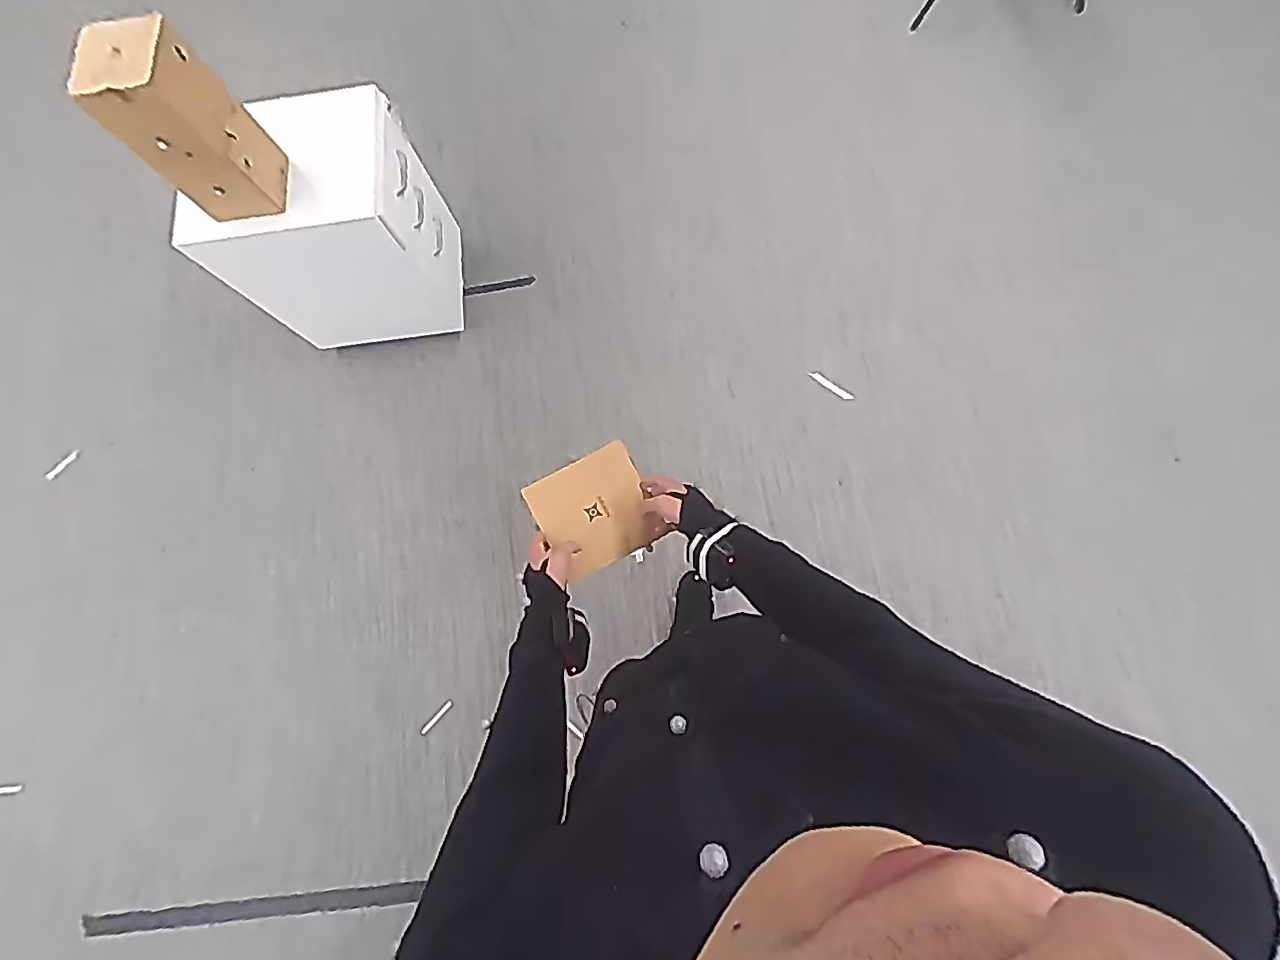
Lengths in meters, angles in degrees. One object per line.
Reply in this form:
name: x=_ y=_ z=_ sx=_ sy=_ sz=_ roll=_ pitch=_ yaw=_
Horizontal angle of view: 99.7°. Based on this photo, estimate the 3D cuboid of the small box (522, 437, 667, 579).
small box: x=-0.074 y=0.050 z=0.904 sx=0.179 sy=0.176 sz=0.168 roll=-28 pitch=87 yaw=-7

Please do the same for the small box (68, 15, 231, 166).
small box: x=-0.967 y=-0.772 z=1.084 sx=0.168 sy=0.176 sz=0.179 roll=-5 pitch=77 yaw=4
